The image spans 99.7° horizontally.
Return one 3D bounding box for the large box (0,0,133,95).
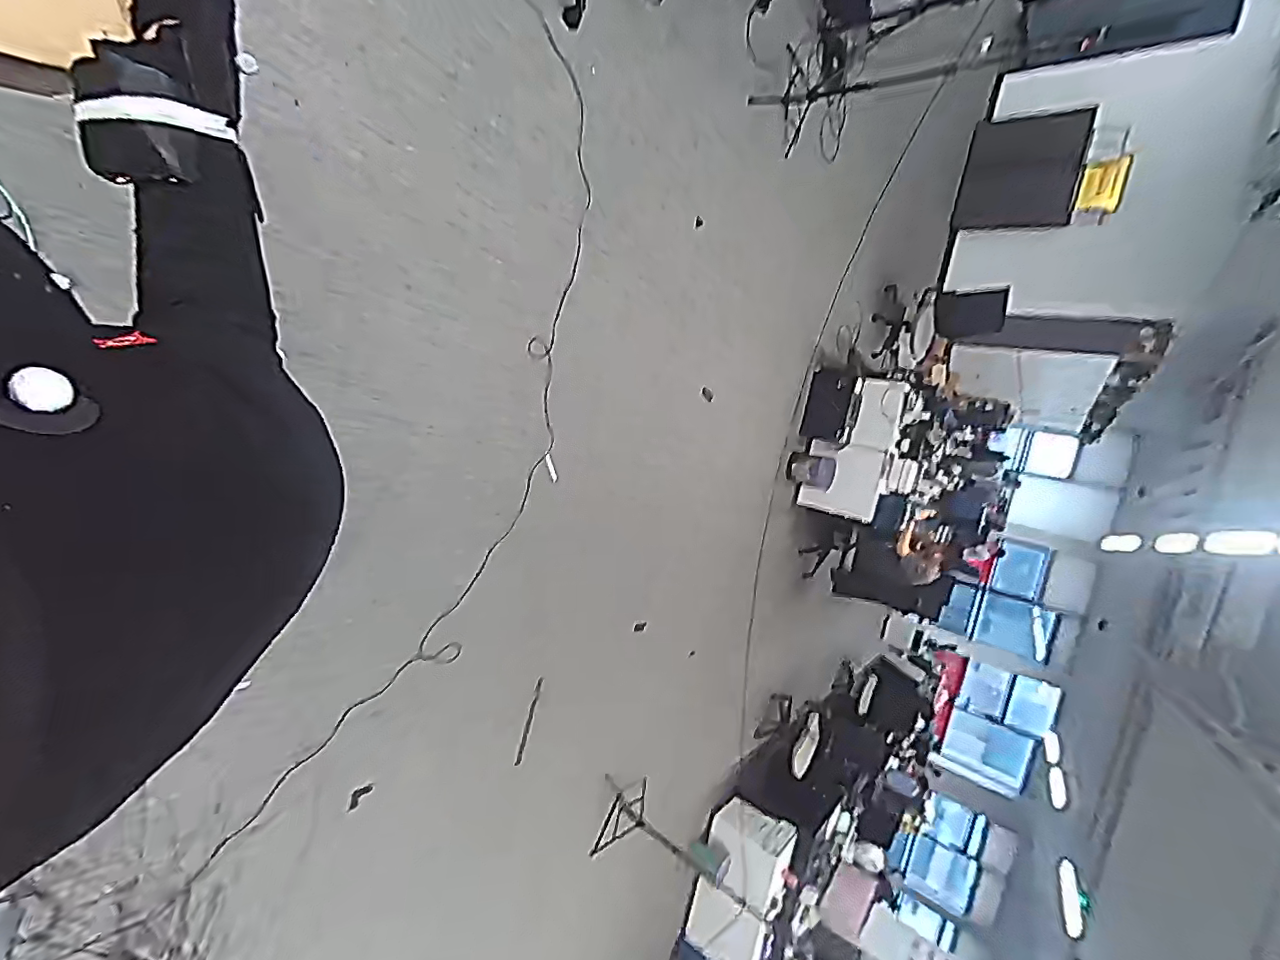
[{"bbox_3d":[-0.557,-0.412,0.236,0.408,0.320,0.320,-19,127,-51],"label":"large box"}]
